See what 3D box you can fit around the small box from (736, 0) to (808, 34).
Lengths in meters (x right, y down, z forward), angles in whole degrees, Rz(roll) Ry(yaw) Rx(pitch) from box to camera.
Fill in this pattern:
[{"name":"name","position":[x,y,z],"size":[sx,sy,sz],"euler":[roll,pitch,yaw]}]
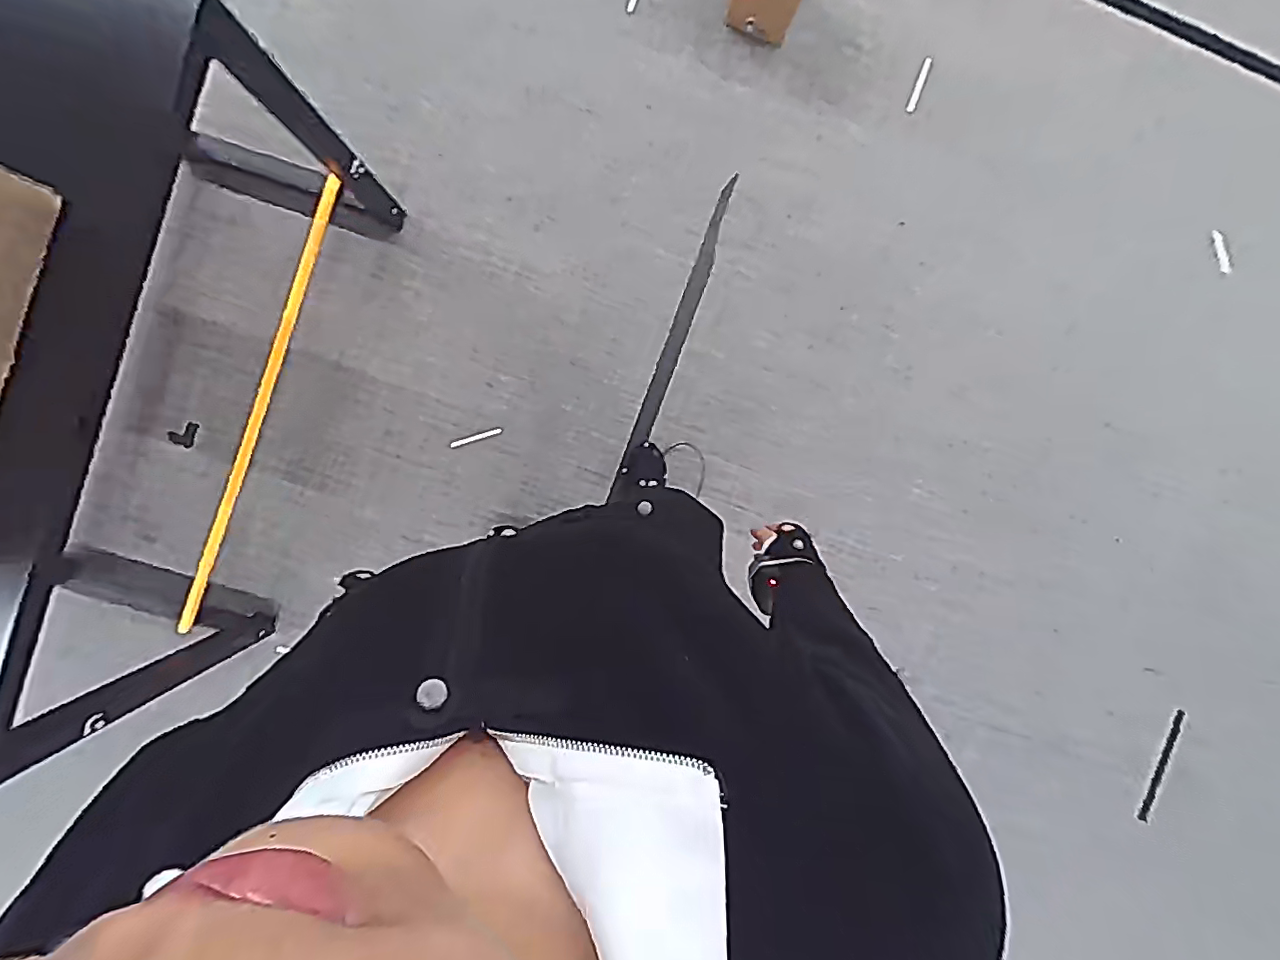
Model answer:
[{"name":"small box","position":[0.343,-1.229,1.282],"size":[0.168,0.176,0.179],"euler":[19,93,-4]}]
